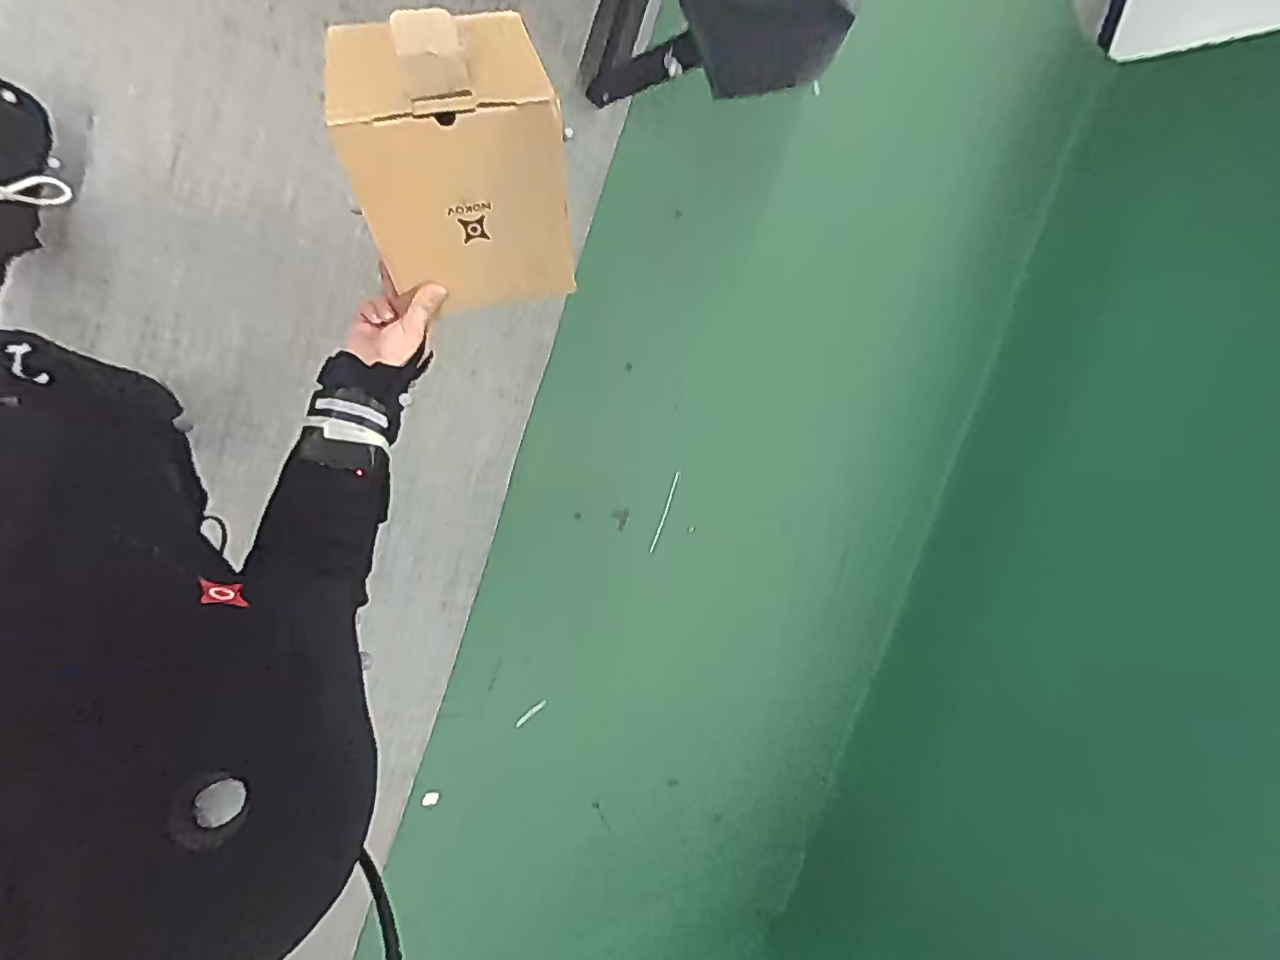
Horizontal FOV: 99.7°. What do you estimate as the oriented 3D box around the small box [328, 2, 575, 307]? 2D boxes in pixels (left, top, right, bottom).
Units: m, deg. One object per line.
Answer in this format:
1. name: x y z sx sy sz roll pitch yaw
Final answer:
1. small box: -0.162 -0.294 0.497 0.168 0.176 0.179 -14 149 -10
